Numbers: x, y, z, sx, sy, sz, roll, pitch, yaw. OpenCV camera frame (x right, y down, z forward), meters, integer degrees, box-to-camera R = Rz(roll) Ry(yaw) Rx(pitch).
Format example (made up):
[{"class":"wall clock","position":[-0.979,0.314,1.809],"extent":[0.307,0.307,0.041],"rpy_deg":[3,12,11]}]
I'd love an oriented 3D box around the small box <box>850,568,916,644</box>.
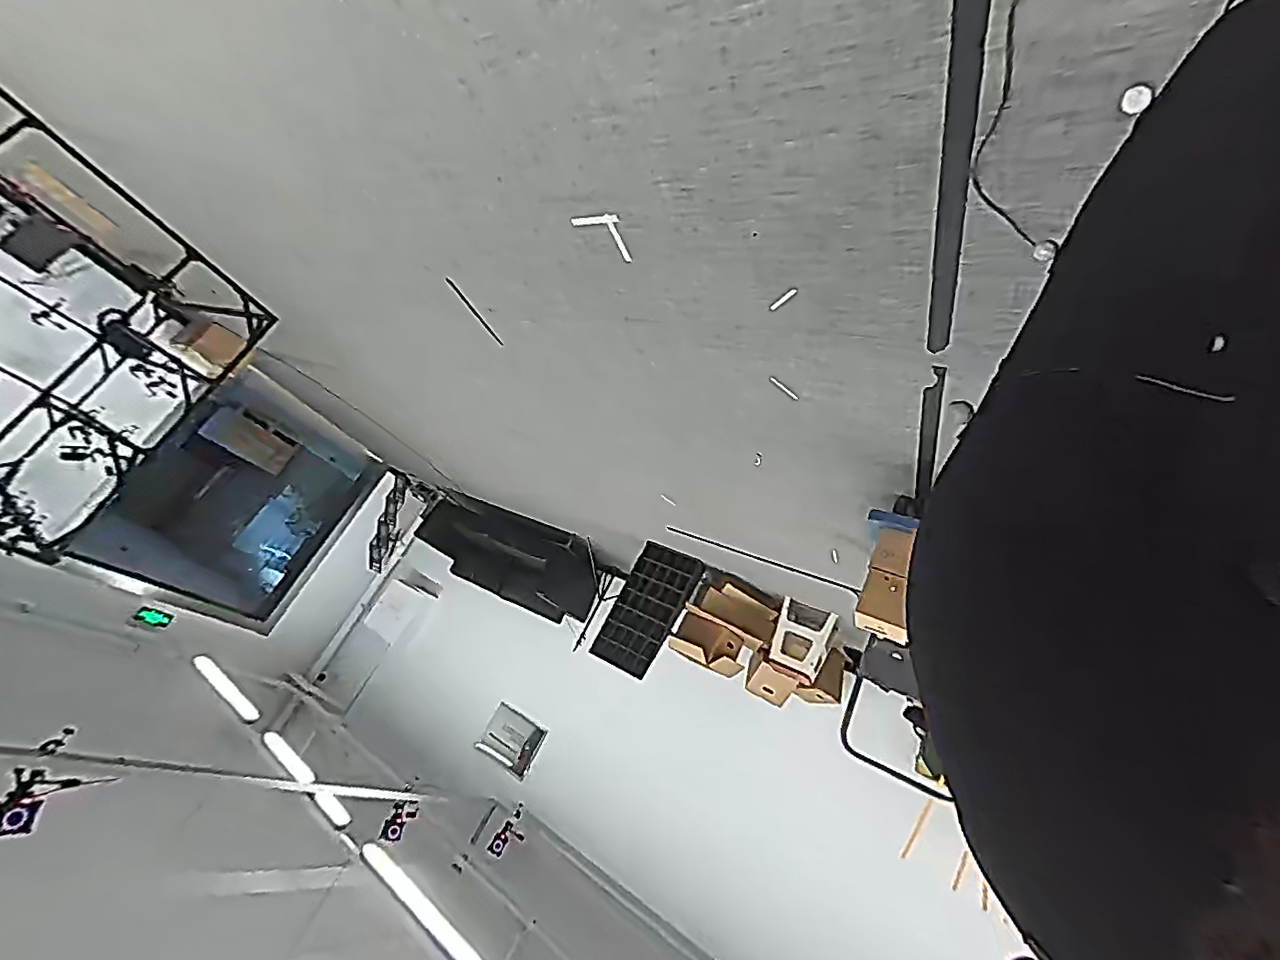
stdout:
[{"class":"small box","position":[0.823,0.425,1.832],"extent":[0.168,0.176,0.179],"rpy_deg":[17,157,31]}]
